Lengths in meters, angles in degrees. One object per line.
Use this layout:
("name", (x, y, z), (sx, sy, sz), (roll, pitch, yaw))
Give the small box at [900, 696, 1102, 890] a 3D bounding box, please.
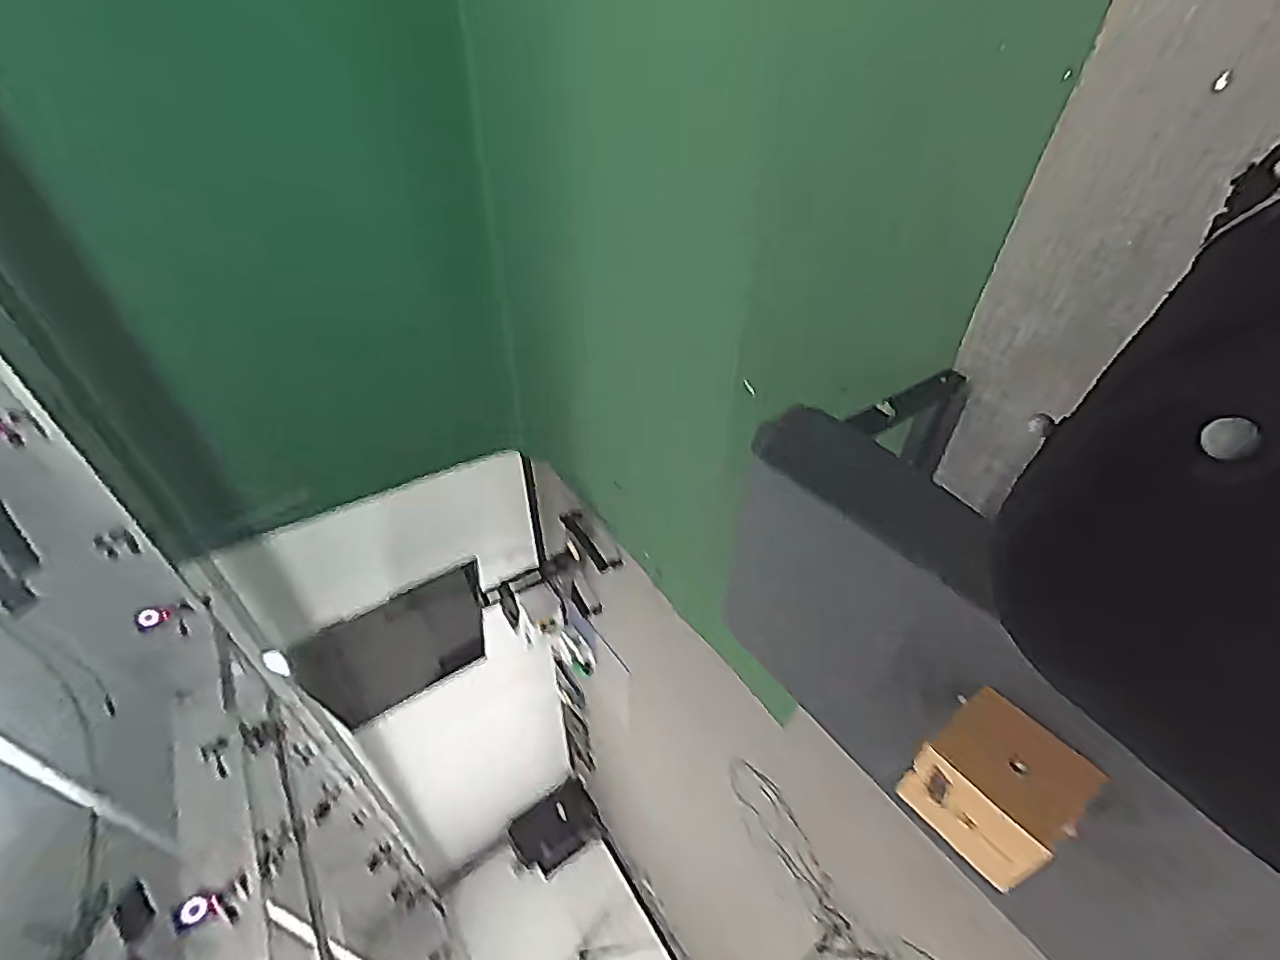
("small box", (0.546, 0.465, 0.832), (0.179, 0.176, 0.168), (39, 143, 44))
